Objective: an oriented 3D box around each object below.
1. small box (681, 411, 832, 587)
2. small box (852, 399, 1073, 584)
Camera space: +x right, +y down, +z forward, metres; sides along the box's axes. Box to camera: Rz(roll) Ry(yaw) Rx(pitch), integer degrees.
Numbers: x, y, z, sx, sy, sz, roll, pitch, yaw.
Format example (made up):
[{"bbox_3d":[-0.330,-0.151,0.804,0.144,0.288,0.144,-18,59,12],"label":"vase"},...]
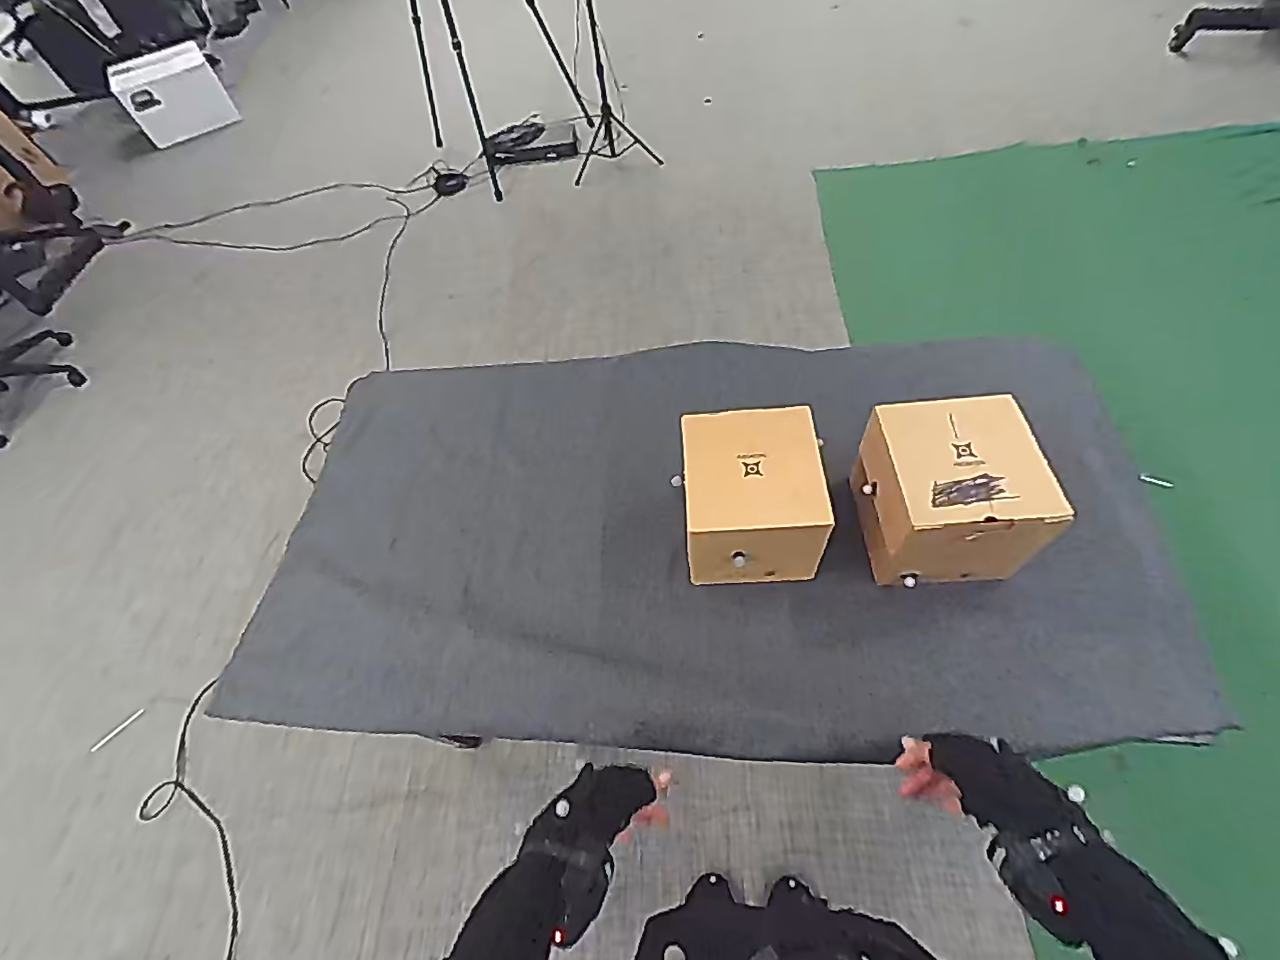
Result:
[{"bbox_3d":[0.144,0.033,0.714,0.168,0.176,0.179,-4,56,6],"label":"small box"},{"bbox_3d":[0.382,0.024,0.681,0.168,0.176,0.179,-4,56,6],"label":"small box"}]
